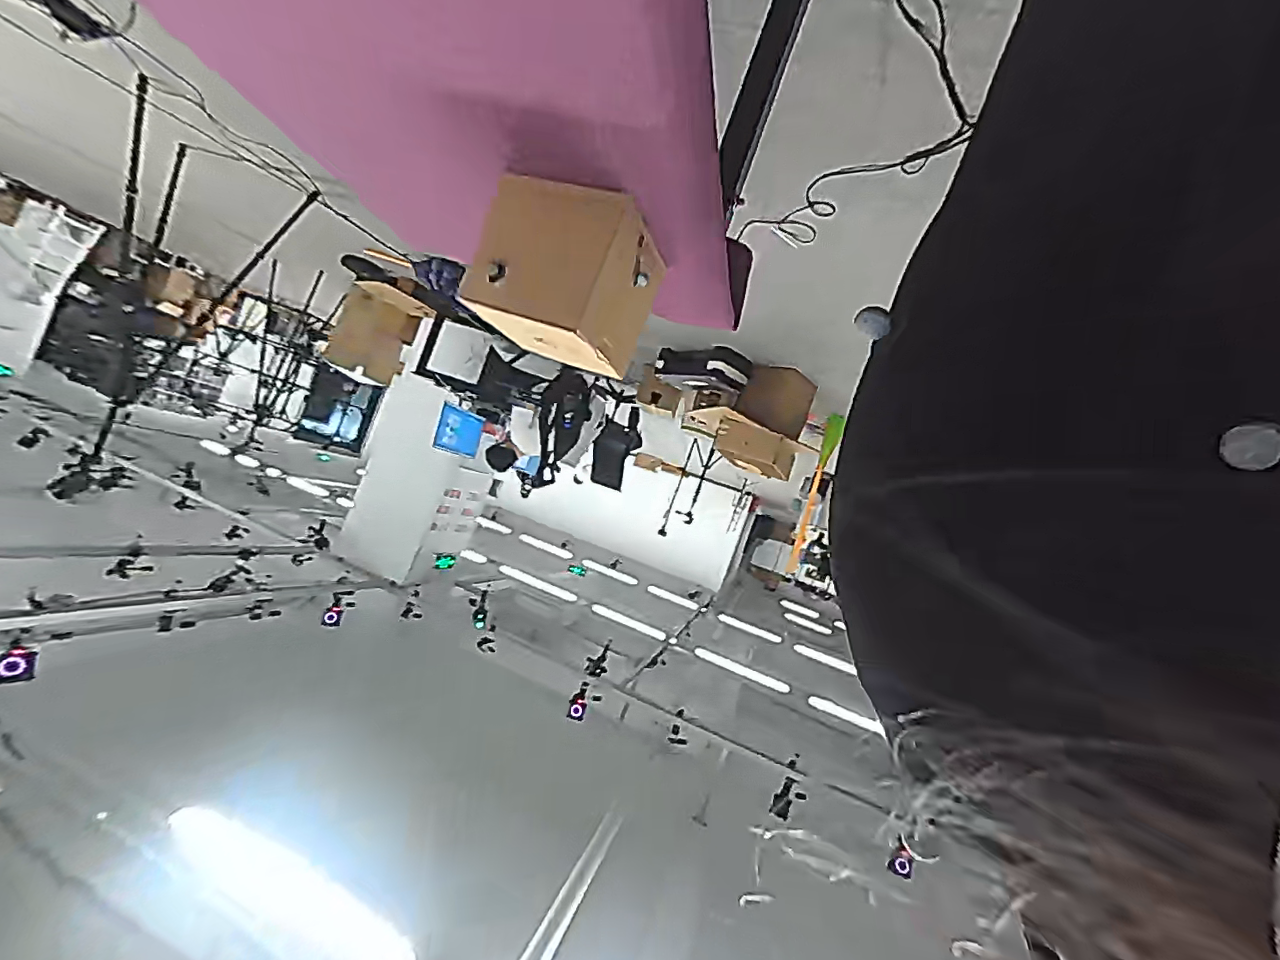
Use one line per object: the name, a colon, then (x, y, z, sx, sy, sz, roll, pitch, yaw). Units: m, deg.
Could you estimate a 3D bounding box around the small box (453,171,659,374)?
small box: (-0.097, -0.262, 0.696, 0.179, 0.176, 0.168, 21, 178, 17)
